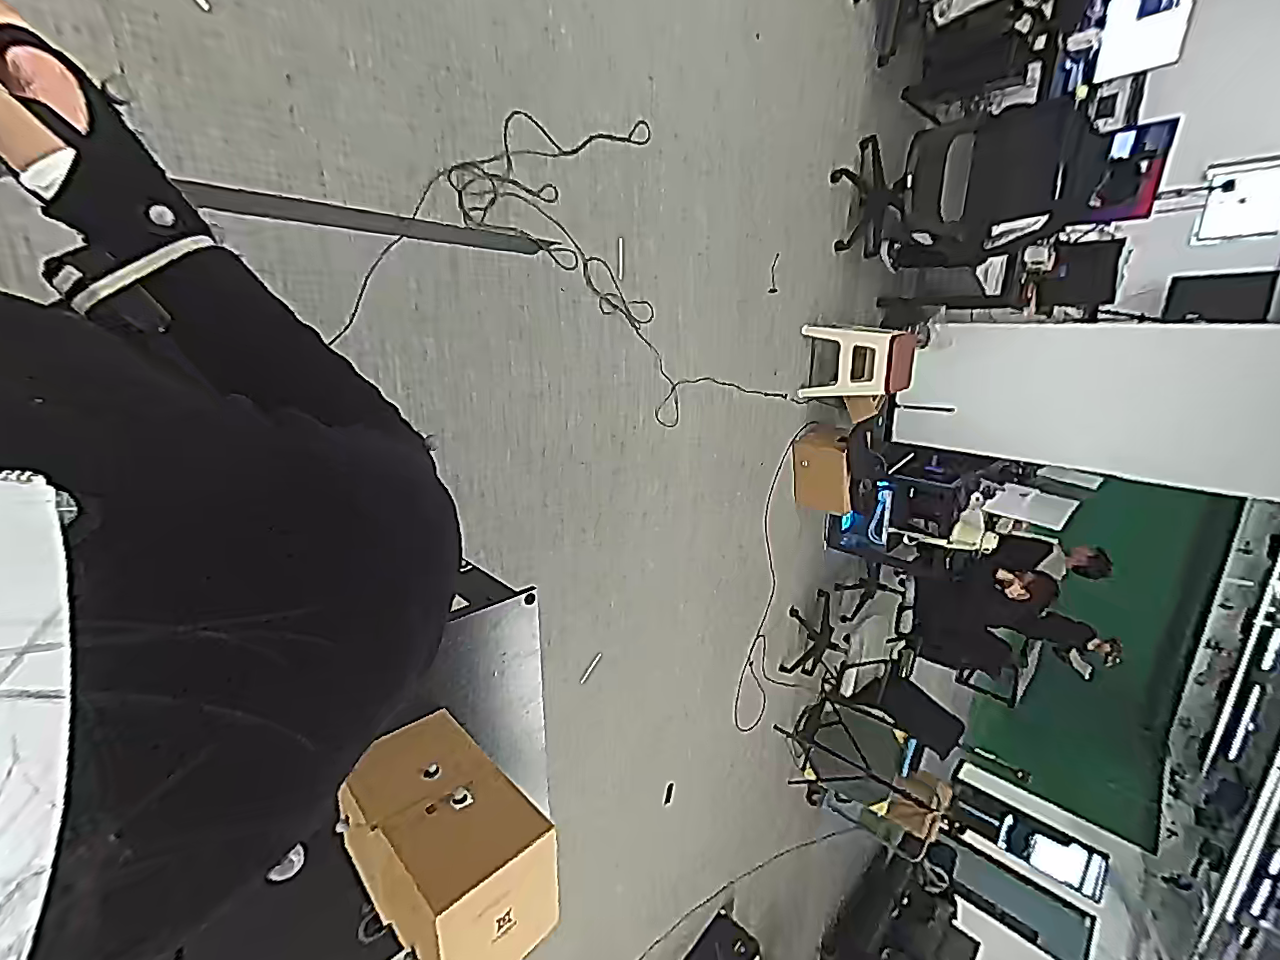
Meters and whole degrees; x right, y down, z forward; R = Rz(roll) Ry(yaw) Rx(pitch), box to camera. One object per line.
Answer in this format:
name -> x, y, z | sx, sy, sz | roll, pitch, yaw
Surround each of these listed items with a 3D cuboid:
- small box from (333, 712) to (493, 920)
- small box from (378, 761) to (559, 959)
small box -> -0.342, 0.493, 0.828 | 0.179, 0.176, 0.168 | -13, 110, -43
small box -> -0.226, 0.523, 0.719 | 0.168, 0.176, 0.179 | -16, 111, -44
